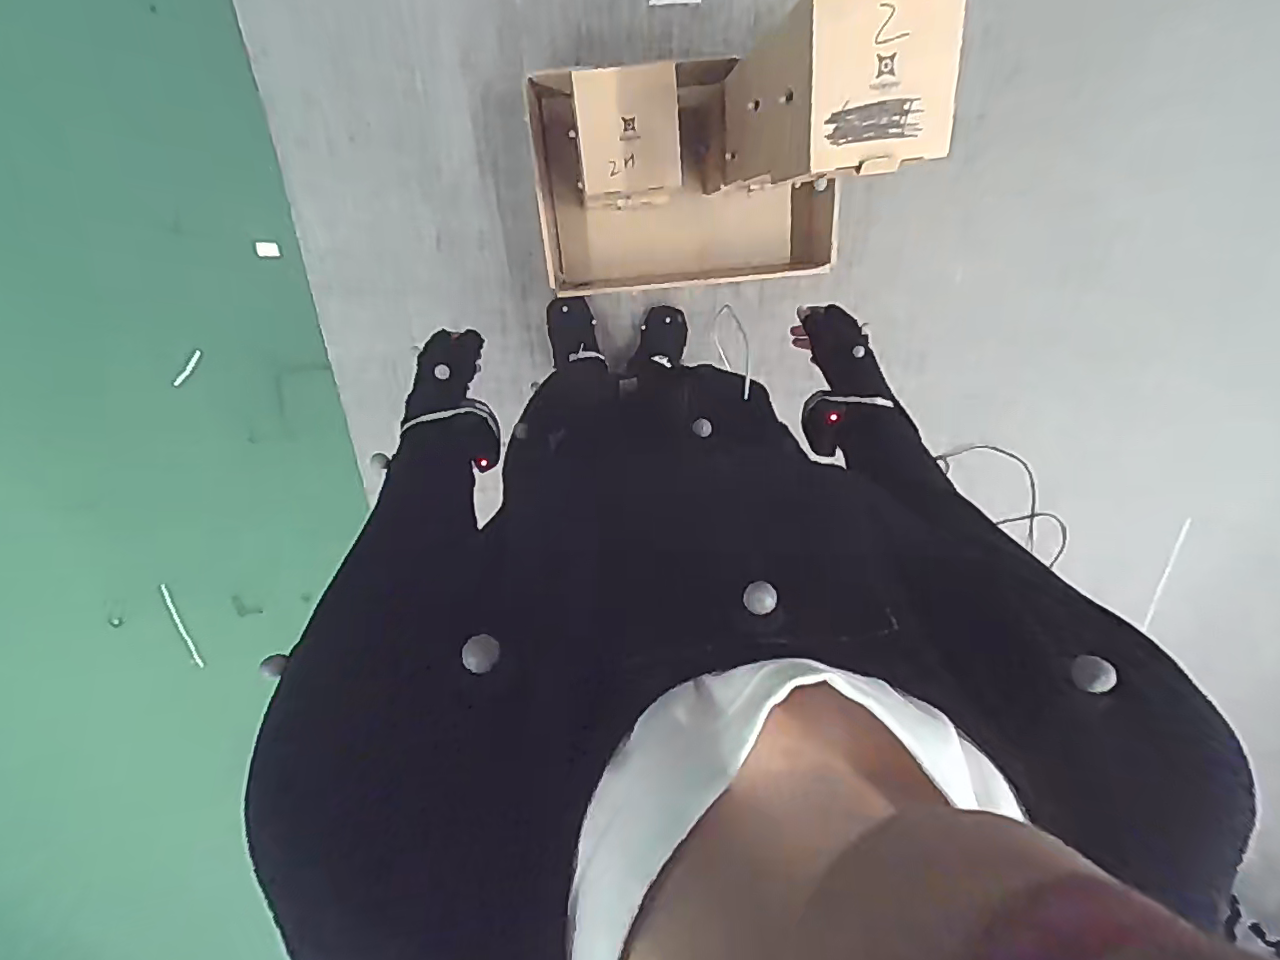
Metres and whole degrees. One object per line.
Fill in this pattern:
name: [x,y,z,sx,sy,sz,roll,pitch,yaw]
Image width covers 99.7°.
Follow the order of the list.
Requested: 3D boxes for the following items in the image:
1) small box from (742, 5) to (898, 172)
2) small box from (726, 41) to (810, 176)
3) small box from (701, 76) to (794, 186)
small box: [0.253,-0.564,0.804,0.168,0.176,0.179,-5,115,-2]
small box: [0.246,-0.633,0.934,0.168,0.176,0.179,-5,115,-1]
small box: [0.222,-0.706,1.099,0.168,0.176,0.179,-9,115,2]
